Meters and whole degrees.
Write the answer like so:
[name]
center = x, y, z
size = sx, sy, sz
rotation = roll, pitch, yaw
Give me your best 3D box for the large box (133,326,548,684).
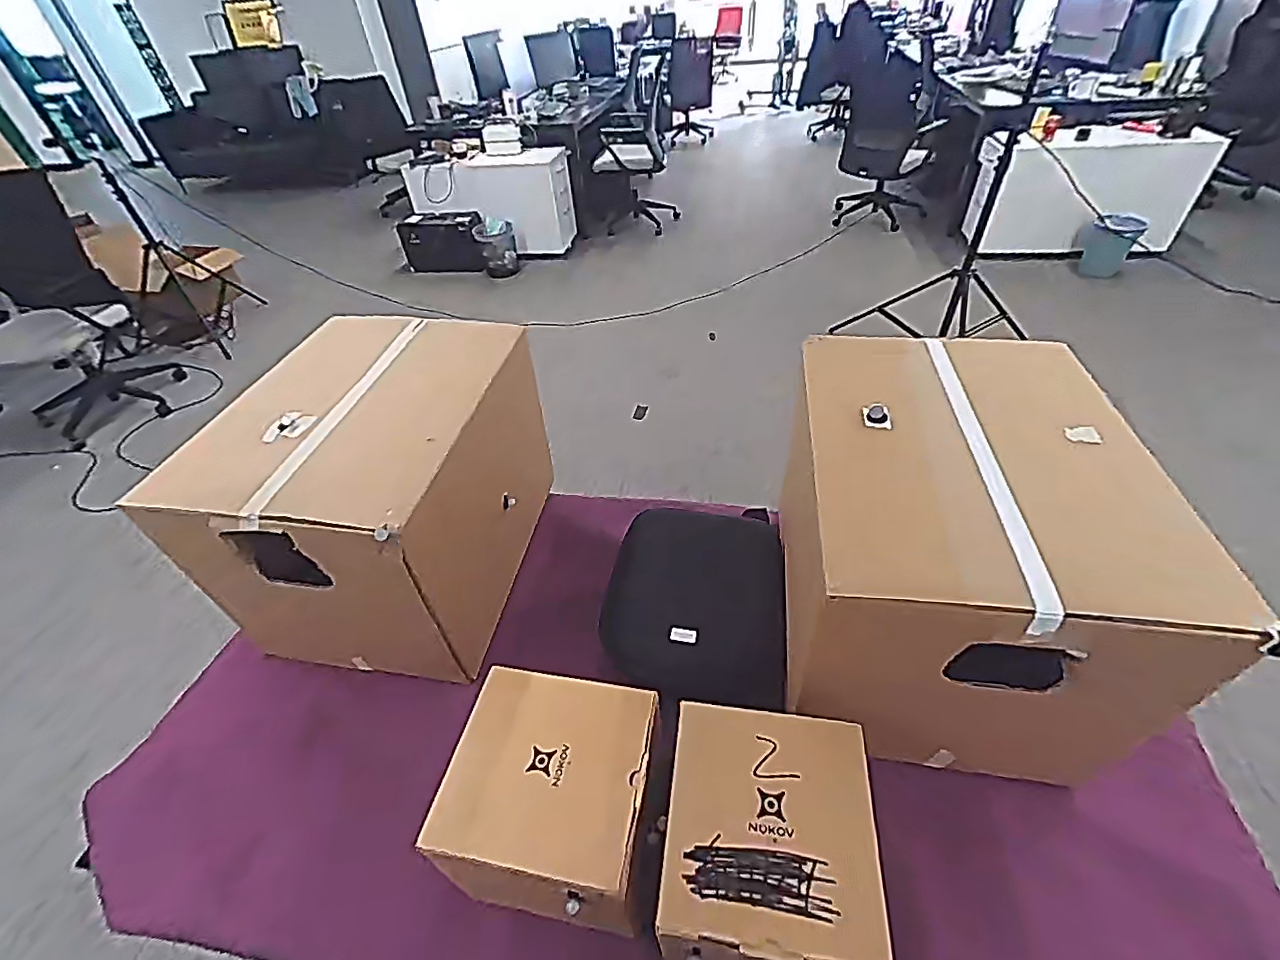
[large box]
center = -0.343, 0.021, 0.778
size = 0.320, 0.320, 0.408
rotation = 4, 45, 8
